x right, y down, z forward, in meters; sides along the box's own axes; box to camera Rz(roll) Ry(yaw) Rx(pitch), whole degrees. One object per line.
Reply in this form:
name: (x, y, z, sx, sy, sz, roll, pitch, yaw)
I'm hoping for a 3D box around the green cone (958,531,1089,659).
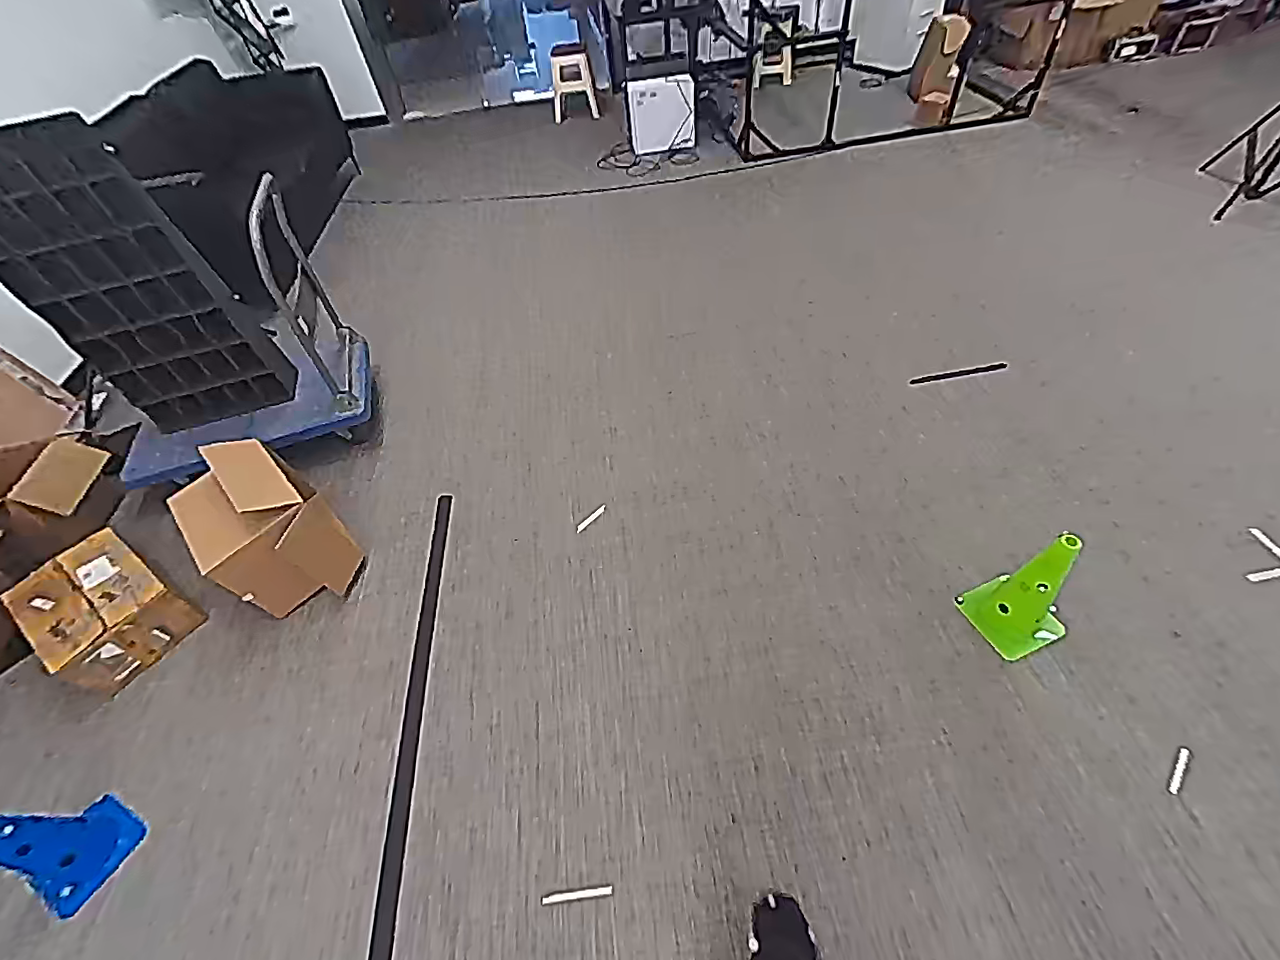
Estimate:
green cone: (0.982, 0.251, 1.323, 0.202, 0.368, 0.200, -20, 50, -11)
